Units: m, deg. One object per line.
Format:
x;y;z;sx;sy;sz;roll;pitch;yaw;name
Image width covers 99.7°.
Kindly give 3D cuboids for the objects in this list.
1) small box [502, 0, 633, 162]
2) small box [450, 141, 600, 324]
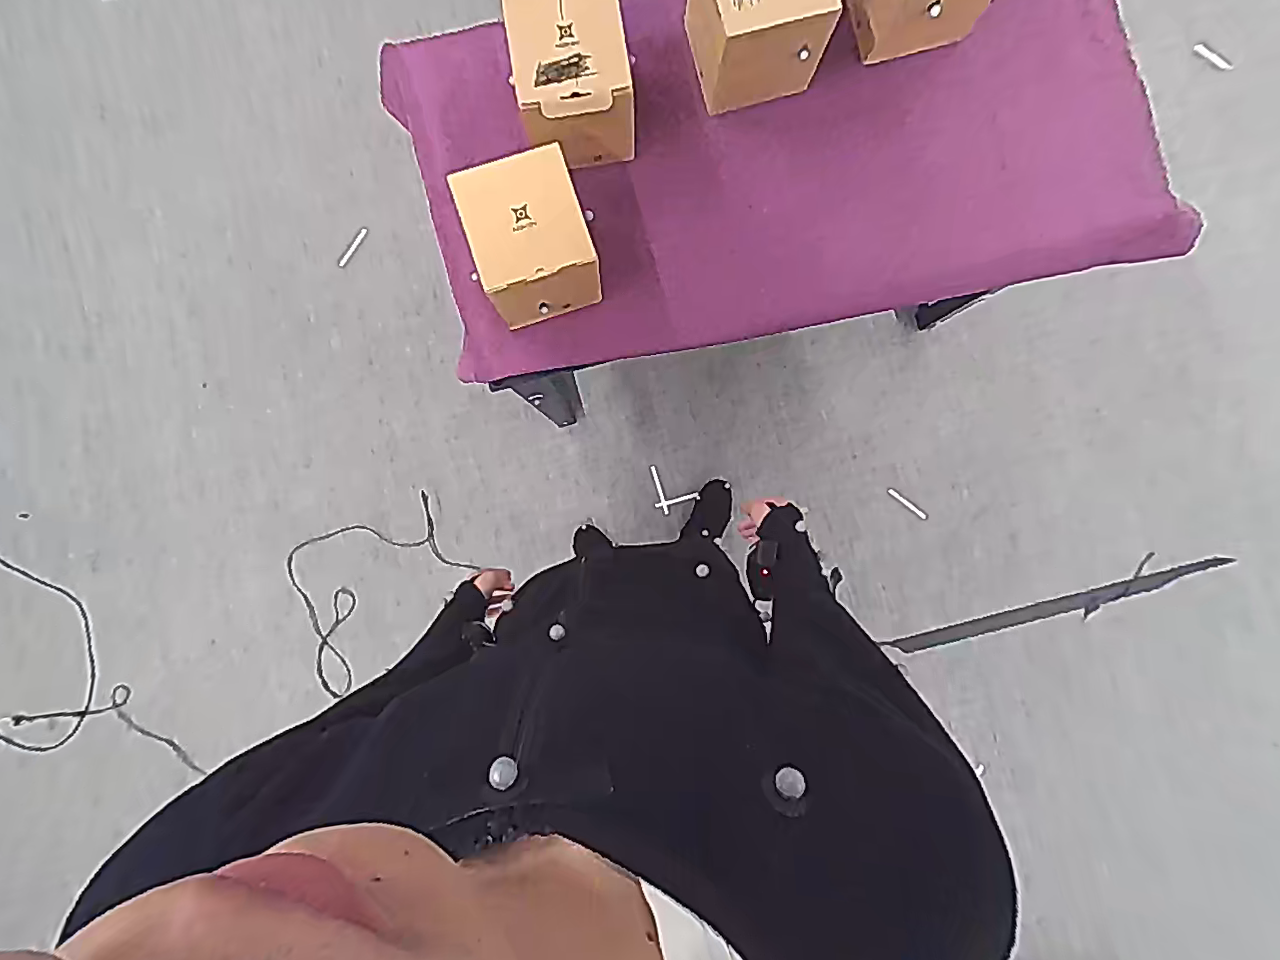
-0.103;-0.620;0.834;0.168;0.176;0.179;-9;90;-1;small box
-0.166;-0.366;0.829;0.168;0.176;0.179;-19;90;-2;small box
